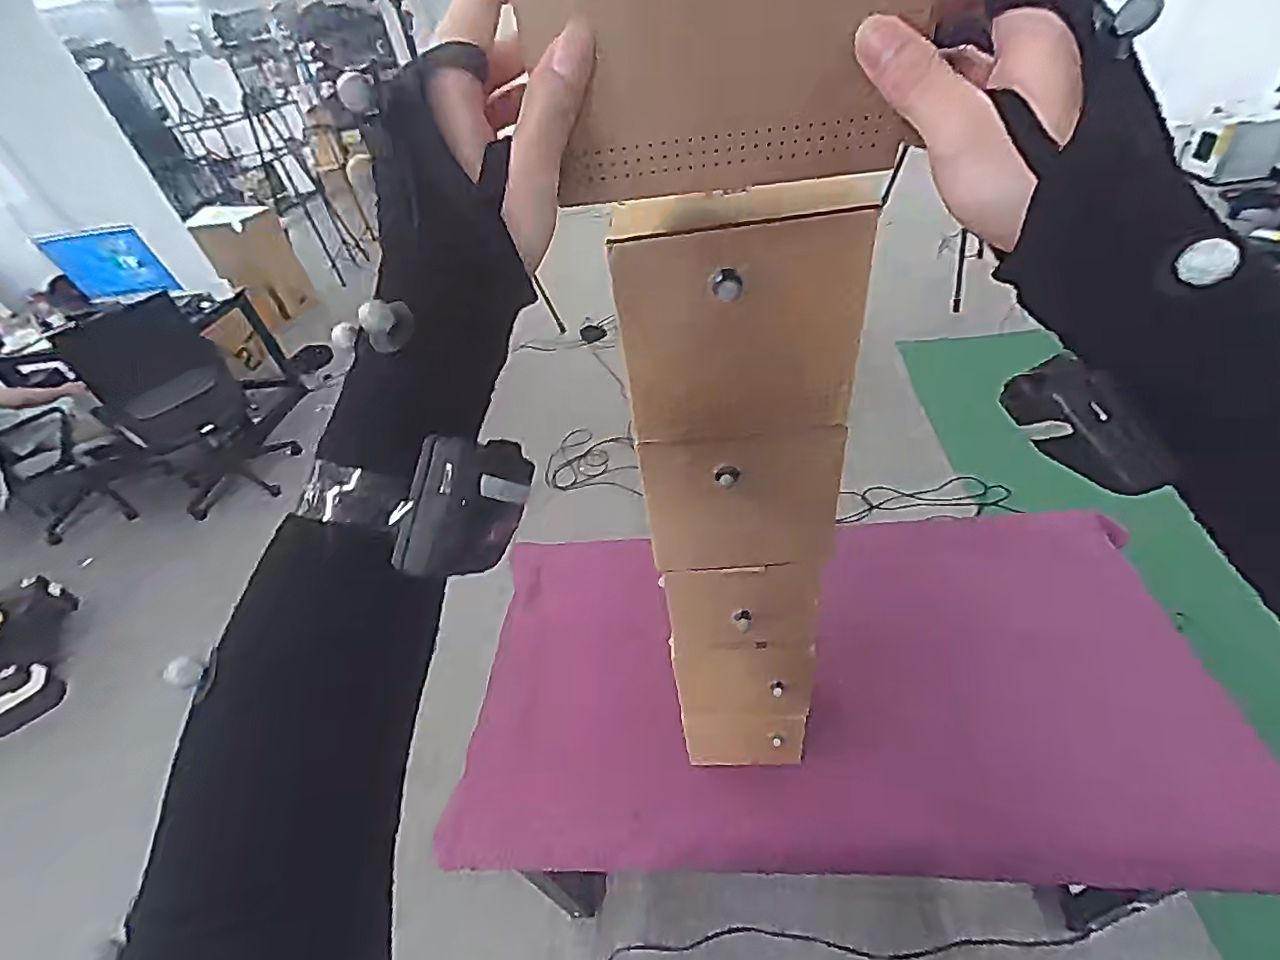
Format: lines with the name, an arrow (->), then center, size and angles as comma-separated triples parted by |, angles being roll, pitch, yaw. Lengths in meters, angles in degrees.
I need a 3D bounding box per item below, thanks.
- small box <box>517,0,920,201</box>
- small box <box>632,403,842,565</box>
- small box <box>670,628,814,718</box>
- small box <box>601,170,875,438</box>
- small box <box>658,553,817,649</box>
small box -> 0.035, -0.266, 0.267 | 0.179, 0.176, 0.168 | -4, 54, 5
small box -> 0.094, -0.027, 0.556 | 0.179, 0.176, 0.168 | -5, 40, 6
small box -> 0.139, 0.220, 0.767 | 0.179, 0.176, 0.168 | -4, 41, 8
small box -> 0.074, -0.151, 0.454 | 0.179, 0.176, 0.168 | -5, 41, 7
small box -> 0.115, 0.094, 0.666 | 0.168, 0.176, 0.179 | -4, 41, 7
